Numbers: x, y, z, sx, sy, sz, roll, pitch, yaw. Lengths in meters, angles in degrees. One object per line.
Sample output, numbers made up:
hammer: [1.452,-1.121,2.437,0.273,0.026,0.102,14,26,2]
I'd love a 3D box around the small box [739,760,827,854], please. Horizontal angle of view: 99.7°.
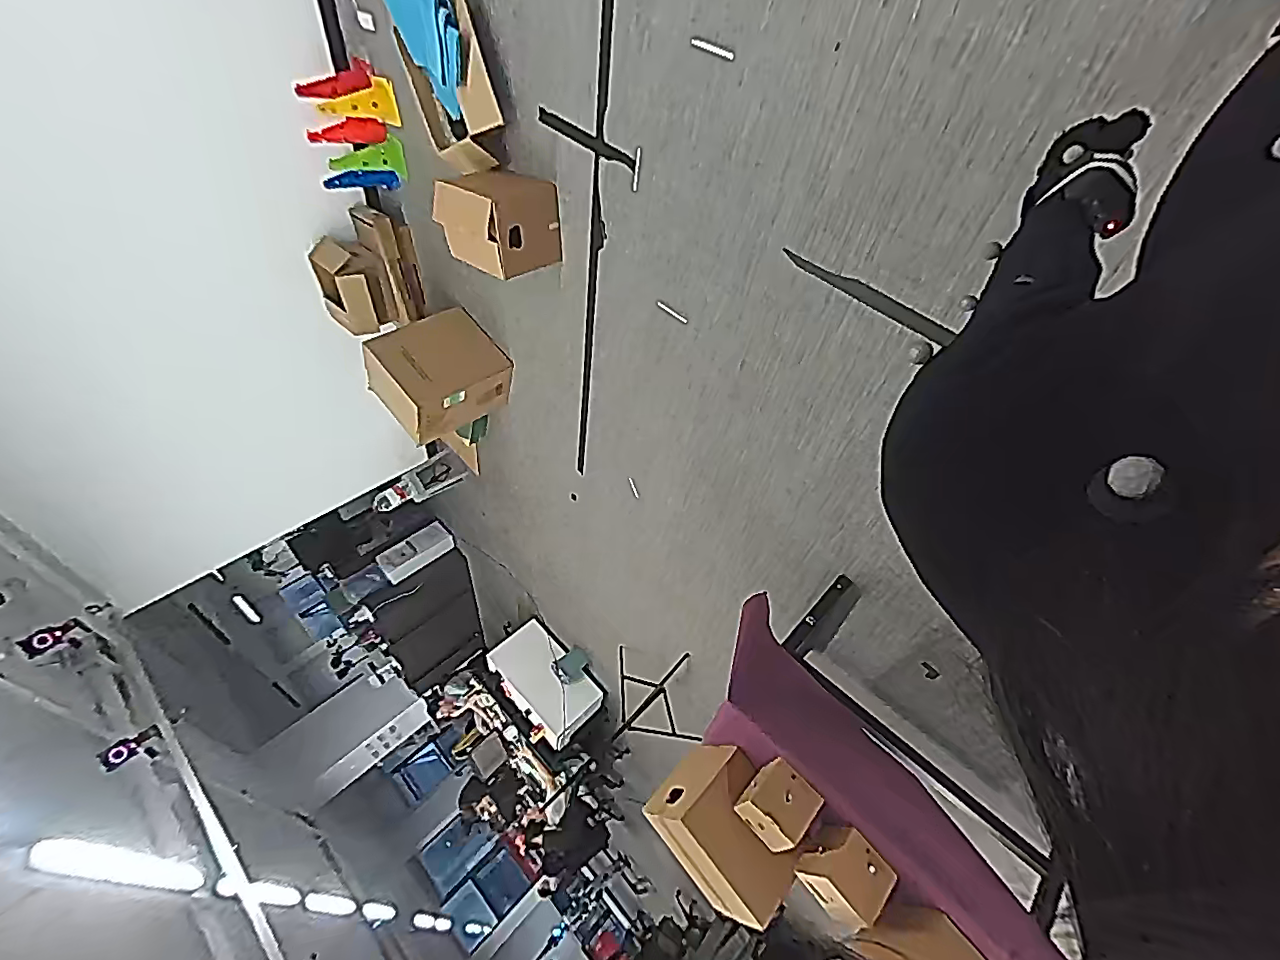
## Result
small box: [0.432,0.977,1.622,0.168,0.176,0.179,42,146,22]
